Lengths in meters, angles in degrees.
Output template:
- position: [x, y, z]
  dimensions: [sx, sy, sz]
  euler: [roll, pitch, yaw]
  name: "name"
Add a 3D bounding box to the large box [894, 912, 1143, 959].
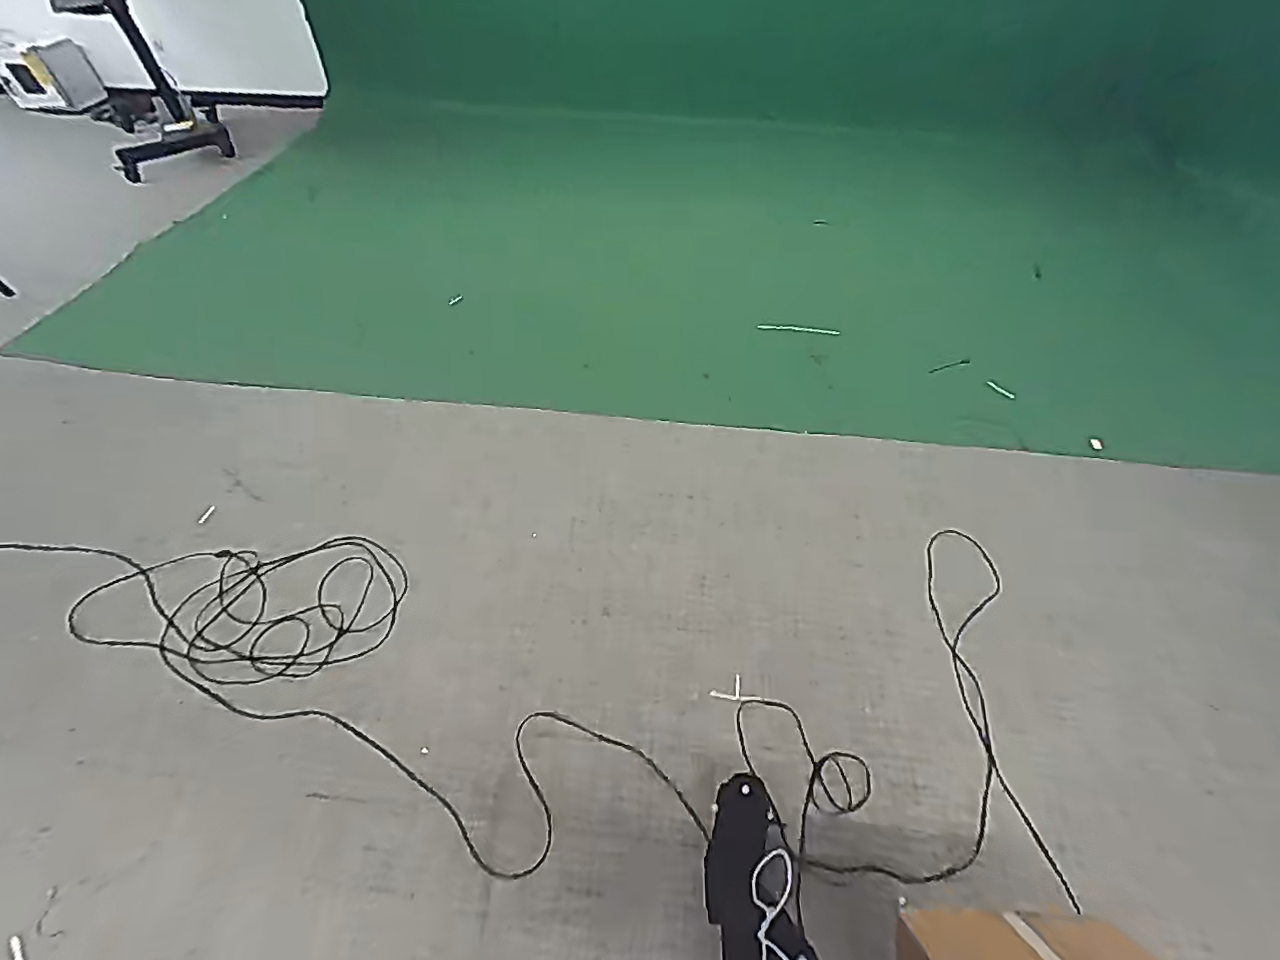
- position: [0.522, 0.774, 0.583]
  dimensions: [0.320, 0.408, 0.320]
  euler: [4, 84, 0]
  name: "large box"
